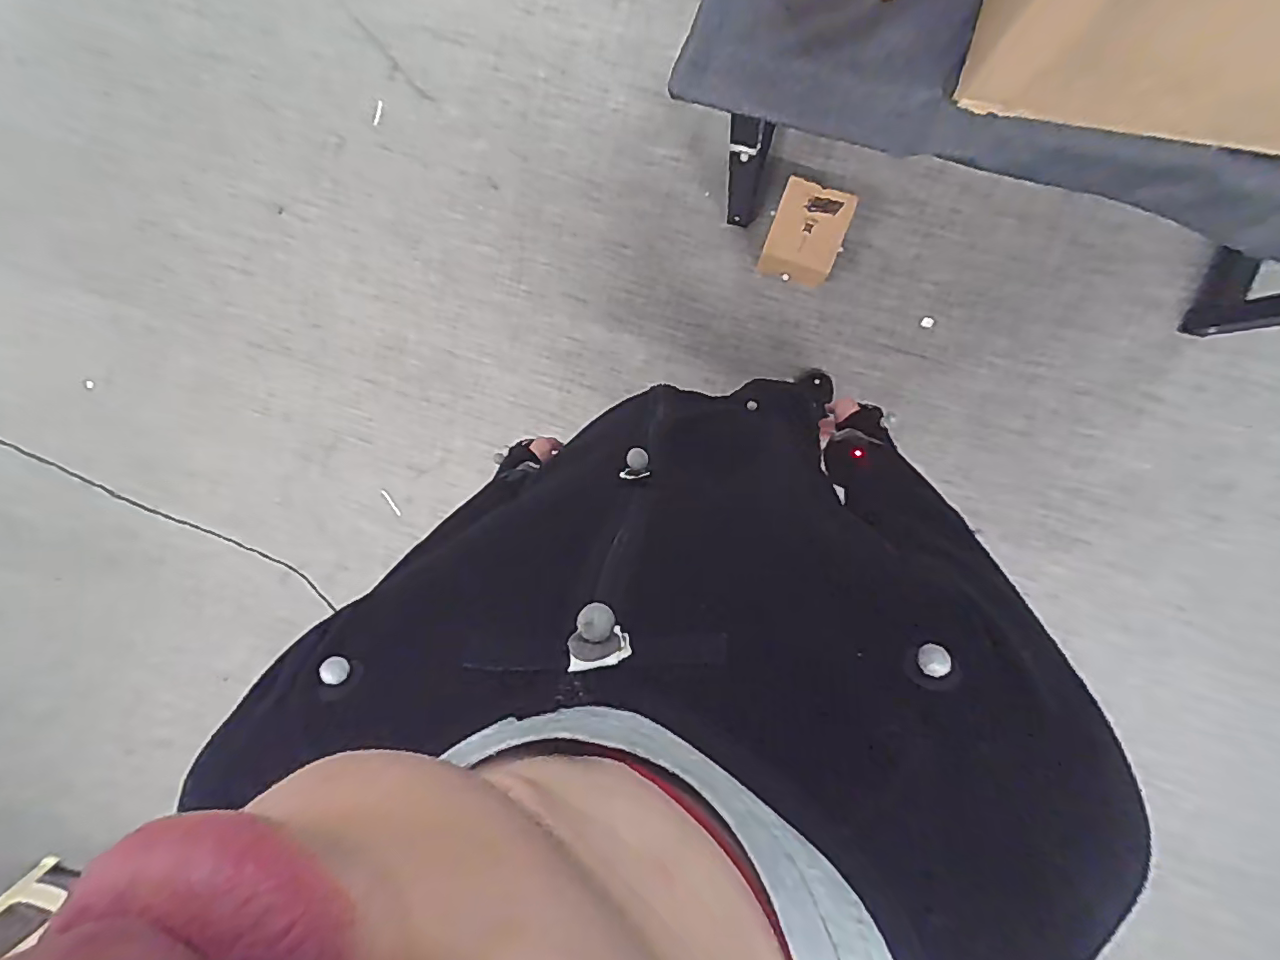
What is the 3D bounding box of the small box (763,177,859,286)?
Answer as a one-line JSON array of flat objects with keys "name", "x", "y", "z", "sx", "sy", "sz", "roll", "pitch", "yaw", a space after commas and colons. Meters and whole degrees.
[{"name": "small box", "x": 0.408, "y": -0.601, "z": 1.327, "sx": 0.168, "sy": 0.176, "sz": 0.179, "roll": 21, "pitch": 101, "yaw": 6}]
